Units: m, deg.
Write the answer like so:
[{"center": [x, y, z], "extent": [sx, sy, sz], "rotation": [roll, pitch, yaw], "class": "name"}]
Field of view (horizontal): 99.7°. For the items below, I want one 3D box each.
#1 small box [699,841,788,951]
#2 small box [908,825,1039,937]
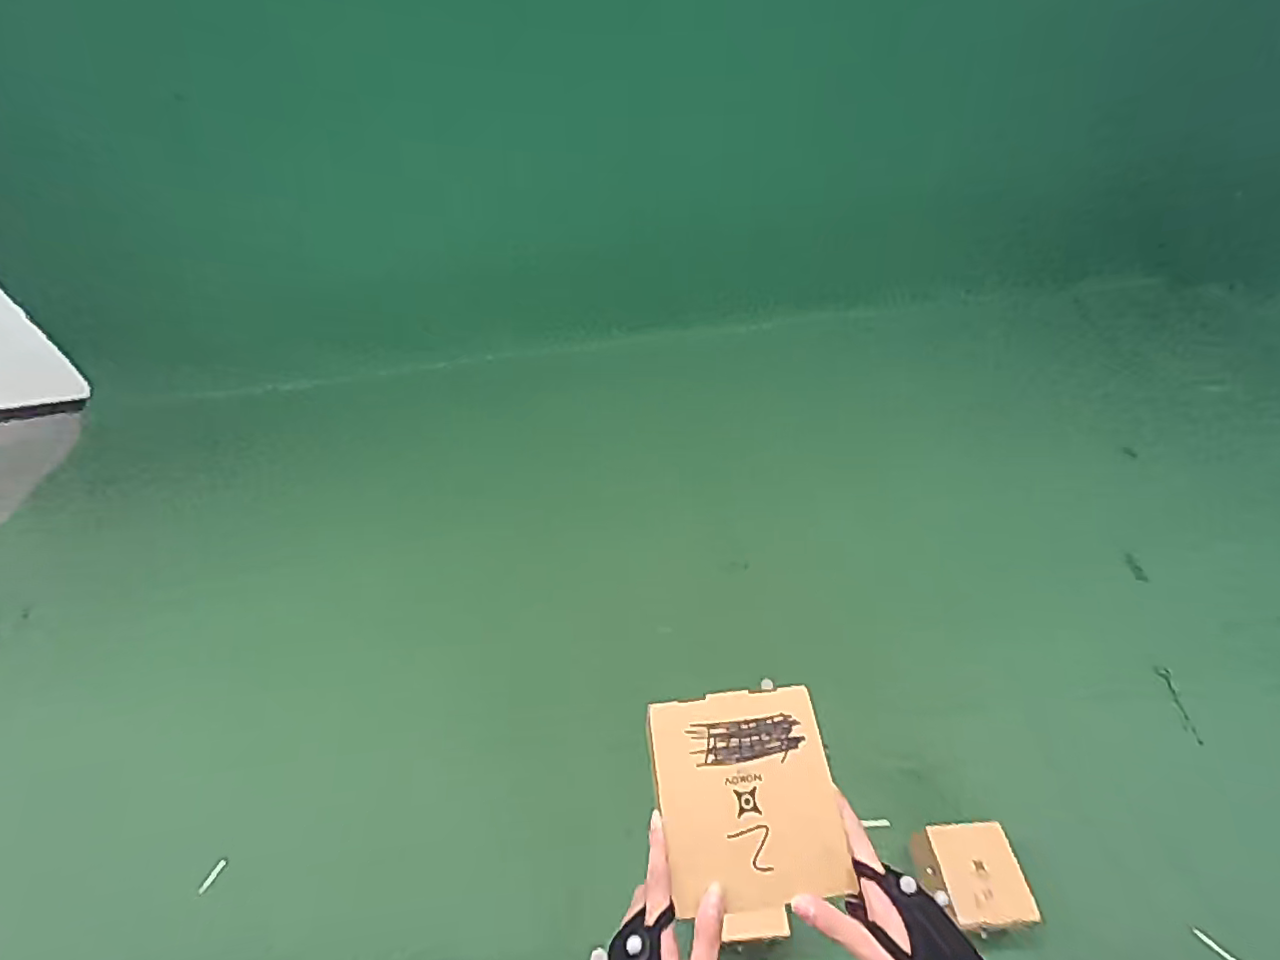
[{"center": [0.228, 0.945, 1.225], "extent": [0.168, 0.176, 0.179], "rotation": [-6, 44, 1], "class": "small box"}, {"center": [0.729, 0.896, 1.208], "extent": [0.168, 0.176, 0.179], "rotation": [-5, 45, 2], "class": "small box"}]
